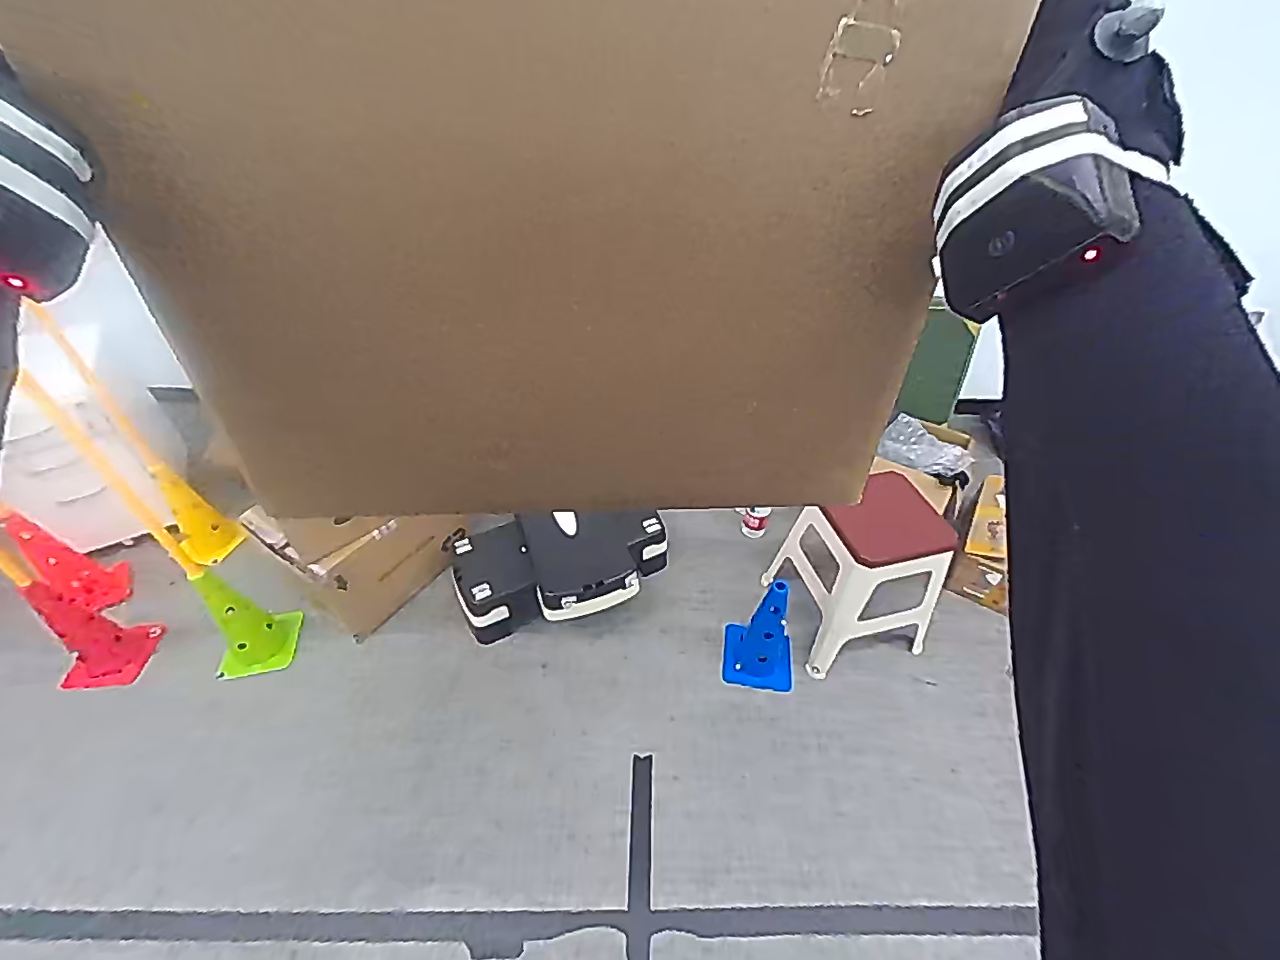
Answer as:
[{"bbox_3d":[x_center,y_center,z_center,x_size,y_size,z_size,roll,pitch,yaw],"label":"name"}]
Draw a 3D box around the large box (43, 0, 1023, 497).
[{"bbox_3d":[-0.049,-0.199,0.398,0.408,0.320,0.320,0,39,-4],"label":"large box"}]
